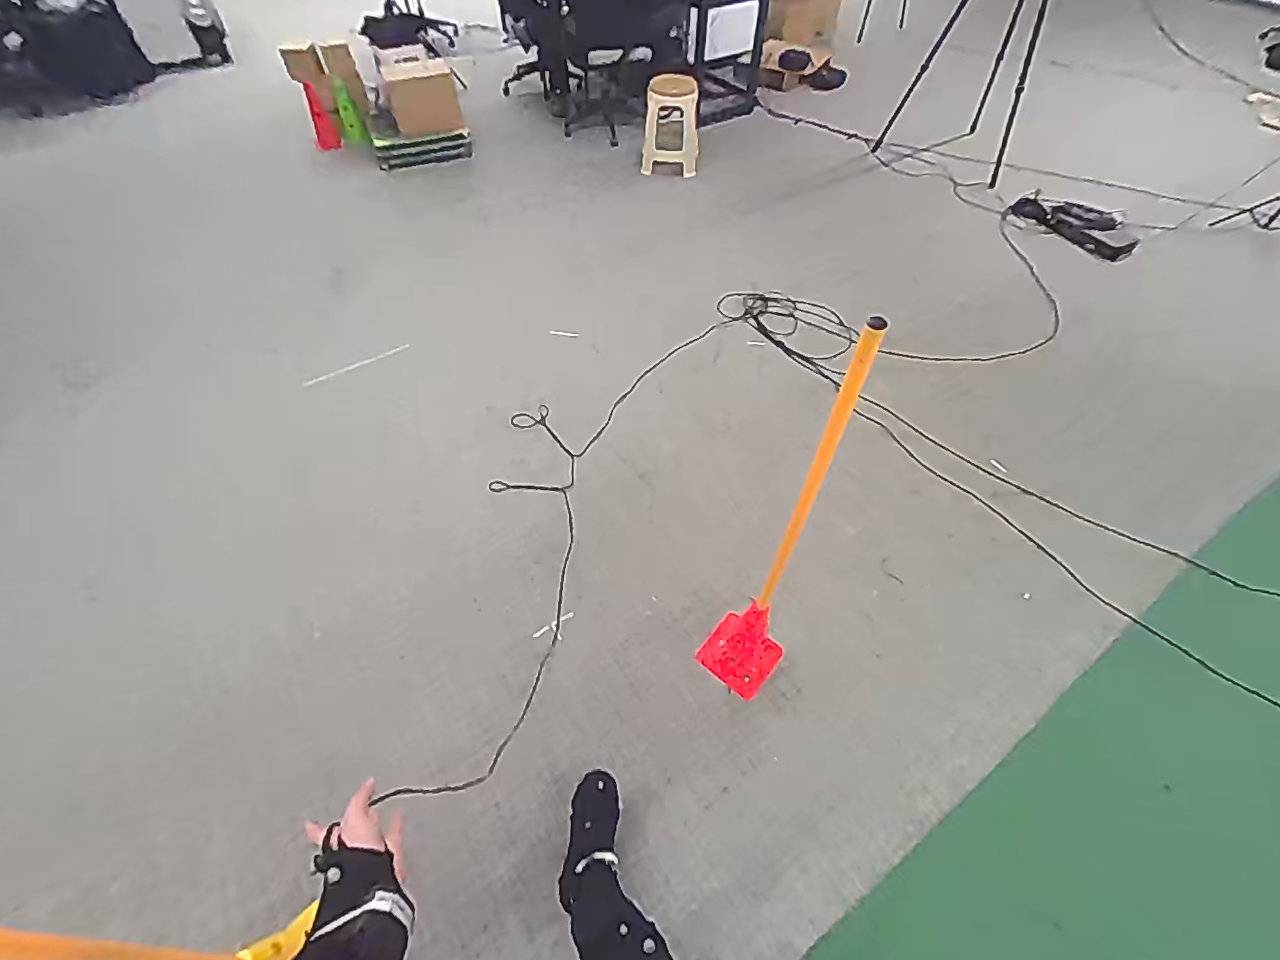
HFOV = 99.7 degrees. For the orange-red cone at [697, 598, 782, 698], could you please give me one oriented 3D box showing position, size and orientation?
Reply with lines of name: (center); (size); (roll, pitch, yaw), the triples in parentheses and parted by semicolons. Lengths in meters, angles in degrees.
orange-red cone: (0.299, 0.410, 1.461); (0.198, 0.360, 0.199); (36, 60, 23)
